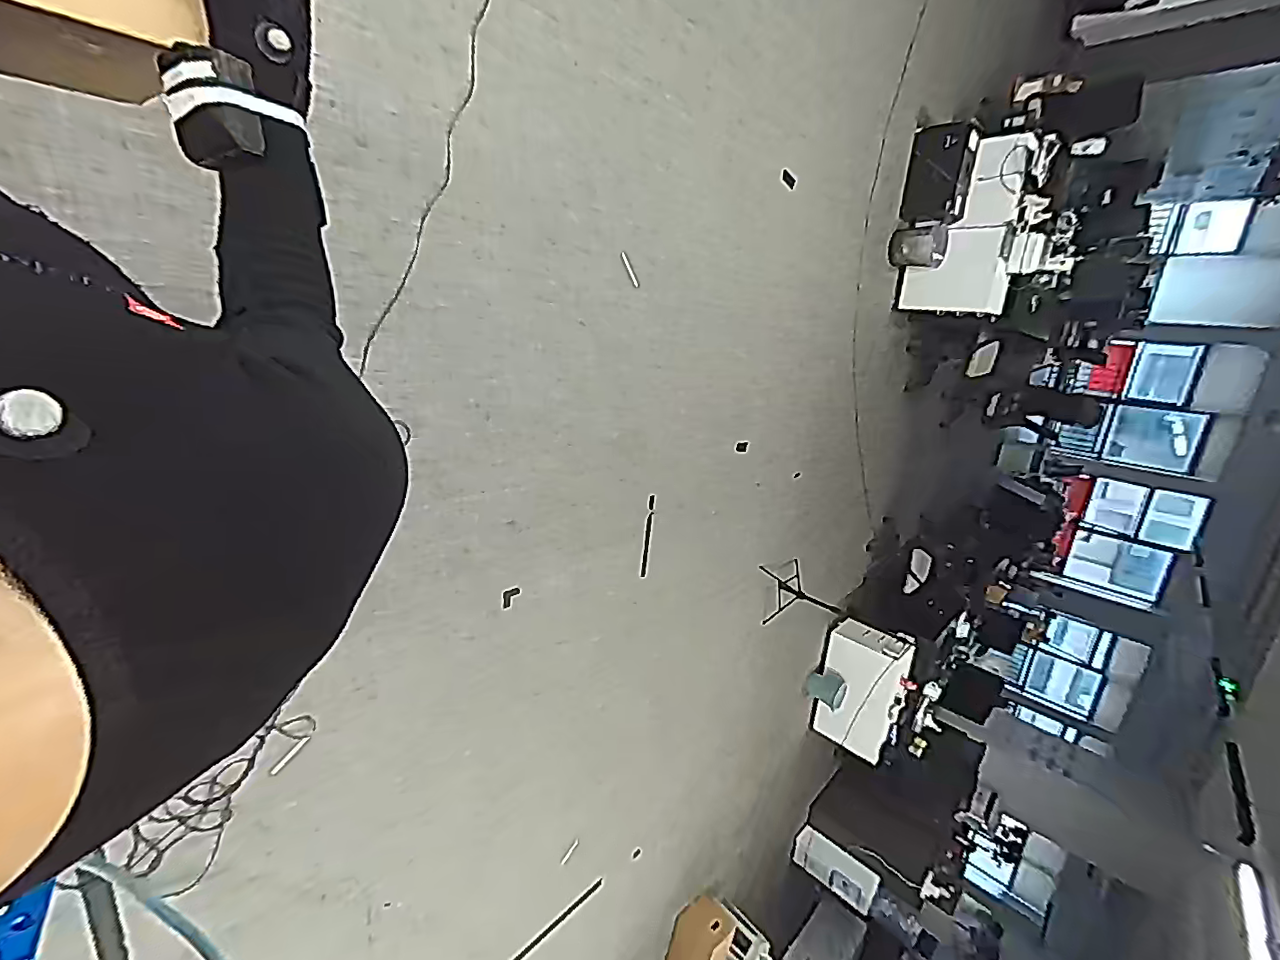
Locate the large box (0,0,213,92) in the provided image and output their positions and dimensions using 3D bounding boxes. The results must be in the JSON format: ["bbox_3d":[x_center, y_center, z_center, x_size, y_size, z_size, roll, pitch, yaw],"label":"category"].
[{"bbox_3d":[-0.542,-0.465,0.291,0.408,0.320,0.320,-17,121,-47],"label":"large box"}]

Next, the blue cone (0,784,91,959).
[{"bbox_3d":[-1.202,0.789,1.043,0.193,0.380,0.192,20,90,-49],"label":"blue cone"}]
